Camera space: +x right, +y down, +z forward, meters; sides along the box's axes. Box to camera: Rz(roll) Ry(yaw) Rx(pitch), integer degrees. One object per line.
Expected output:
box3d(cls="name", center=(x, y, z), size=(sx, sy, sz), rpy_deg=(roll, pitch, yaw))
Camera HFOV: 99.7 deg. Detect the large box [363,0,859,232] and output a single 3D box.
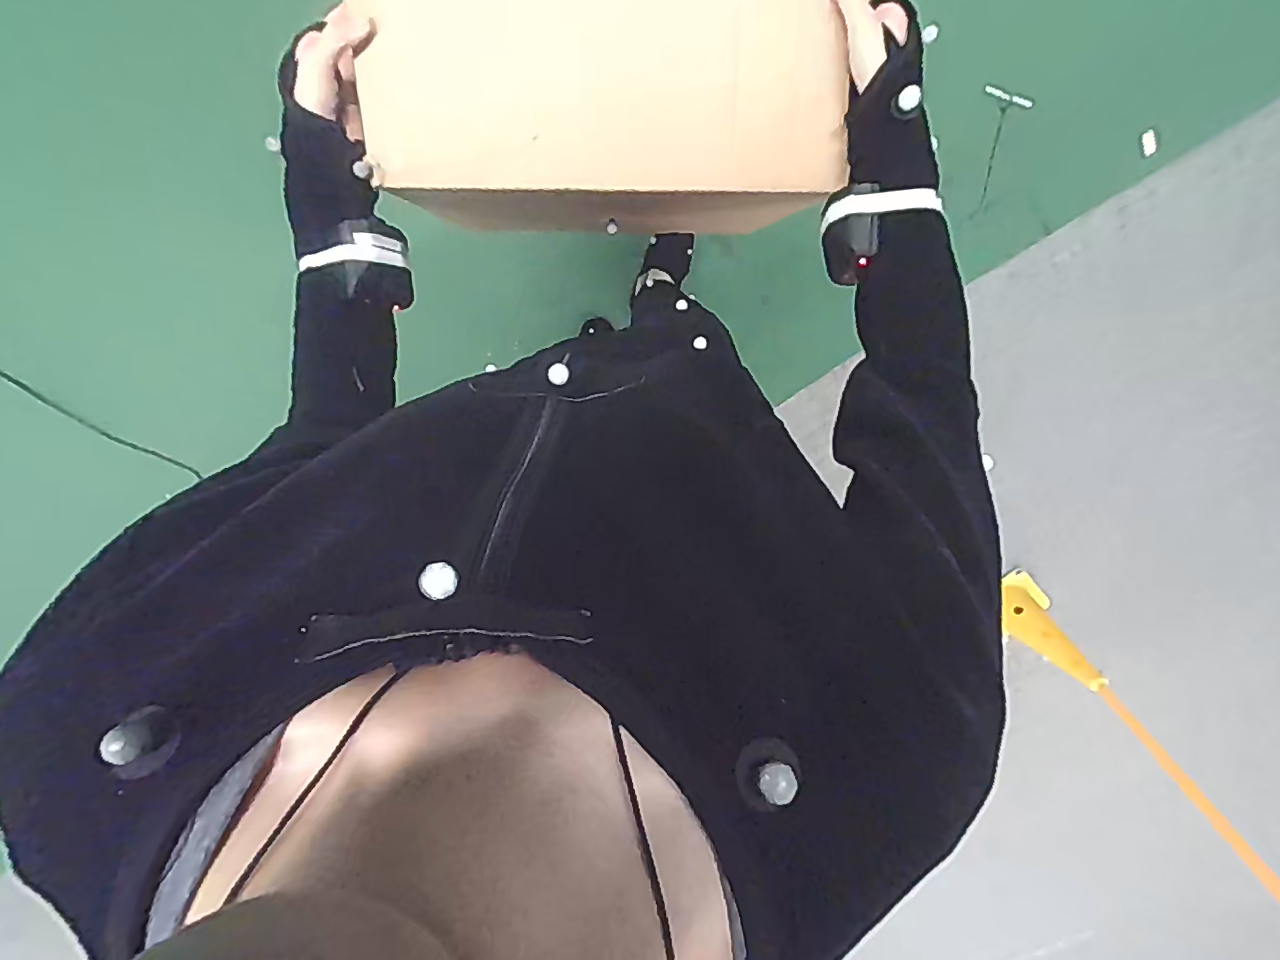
box3d(cls="large box", center=(-0.026, -0.441, 0.566), size=(0.408, 0.320, 0.320), rpy_deg=(-1, 108, -4))
